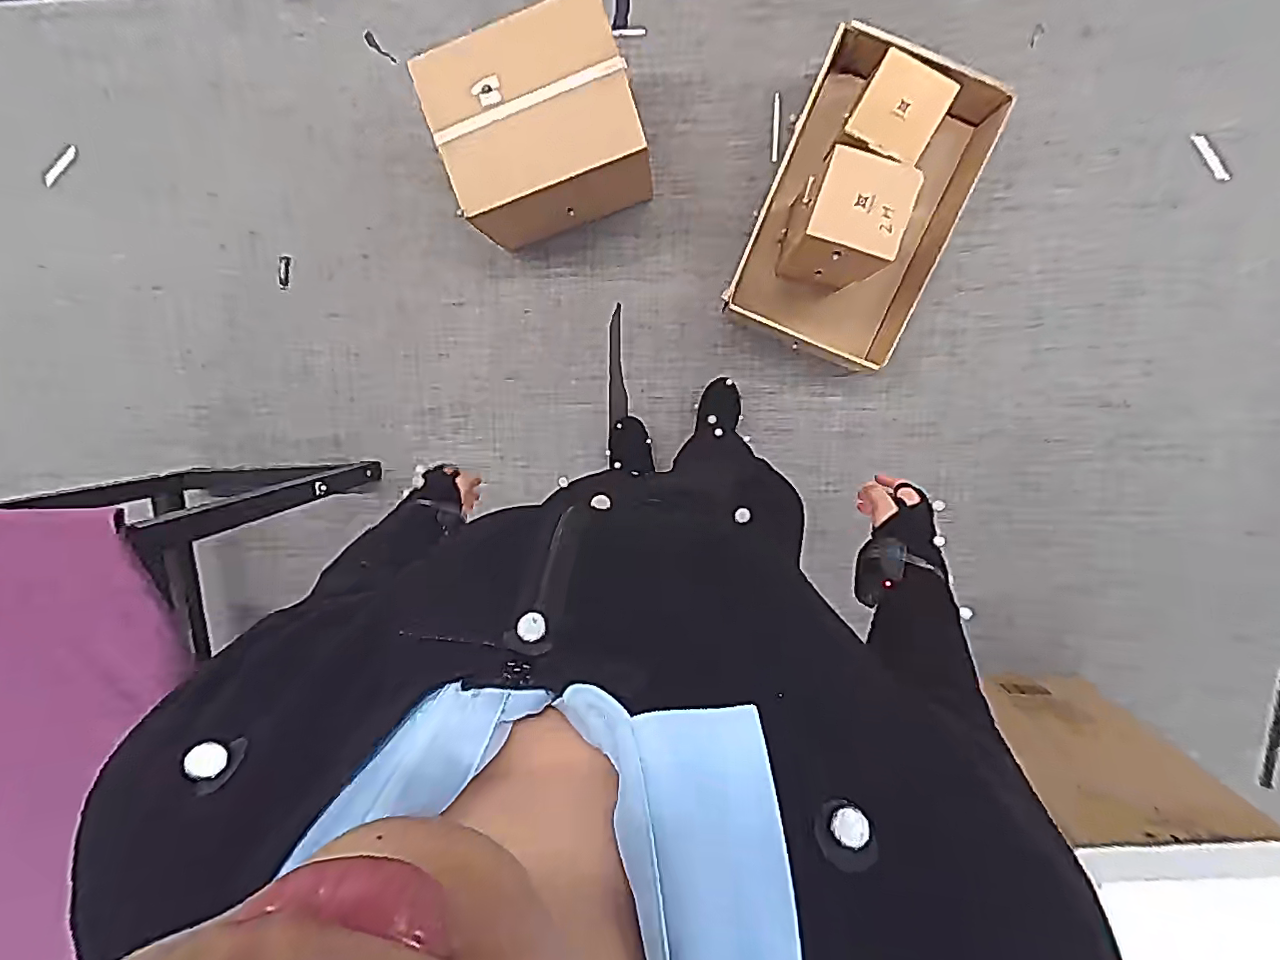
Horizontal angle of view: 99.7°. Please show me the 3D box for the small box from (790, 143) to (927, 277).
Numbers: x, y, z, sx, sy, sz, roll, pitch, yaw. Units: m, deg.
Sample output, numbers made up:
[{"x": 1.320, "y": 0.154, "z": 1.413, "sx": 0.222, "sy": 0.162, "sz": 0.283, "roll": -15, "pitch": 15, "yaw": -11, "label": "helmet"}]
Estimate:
[{"x": 0.417, "y": -0.518, "z": 1.067, "sx": 0.179, "sy": 0.176, "sz": 0.168, "roll": 18, "pitch": 99, "yaw": -1, "label": "small box"}]

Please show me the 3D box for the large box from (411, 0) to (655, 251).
[{"x": -0.208, "y": -0.763, "z": 1.210, "sx": 0.408, "sy": 0.320, "sz": 0.320, "roll": -18, "pitch": 98, "yaw": 8, "label": "large box"}]
